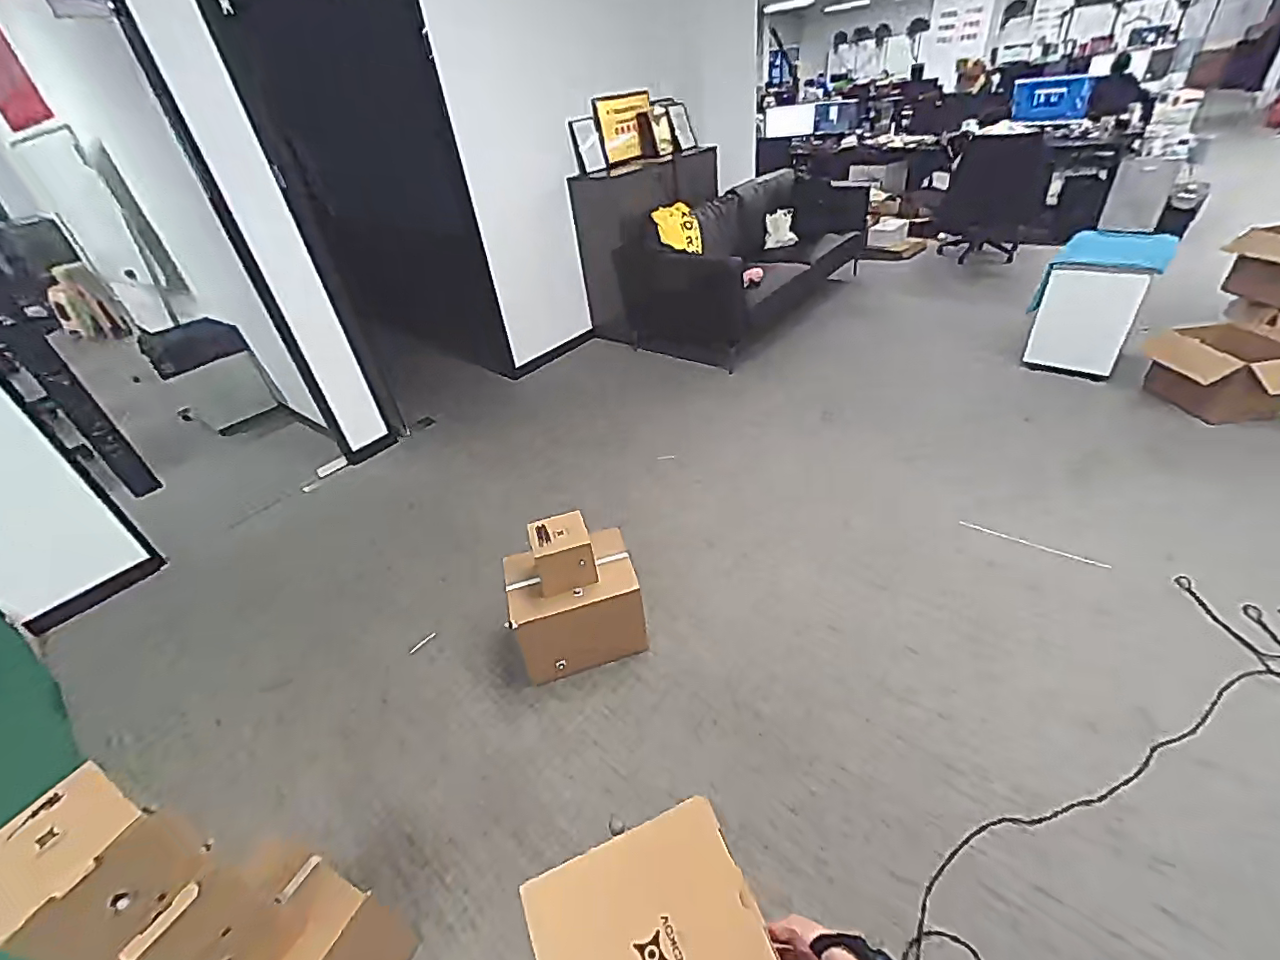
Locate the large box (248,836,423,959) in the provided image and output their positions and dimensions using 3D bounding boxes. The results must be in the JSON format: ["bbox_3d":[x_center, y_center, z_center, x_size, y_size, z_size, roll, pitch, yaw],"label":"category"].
[{"bbox_3d":[-0.732,1.045,1.093,0.320,0.320,0.408,10,41,25],"label":"large box"}]

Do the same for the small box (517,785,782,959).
[{"bbox_3d":[0.002,0.409,0.476,0.179,0.176,0.168,-14,52,-21],"label":"small box"}]

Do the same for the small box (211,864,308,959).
[{"bbox_3d":[-0.749,0.832,0.970,0.168,0.176,0.179,14,41,26],"label":"small box"}]

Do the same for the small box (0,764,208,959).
[{"bbox_3d":[-0.789,0.563,0.786,0.179,0.176,0.168,15,41,26],"label":"small box"}]
